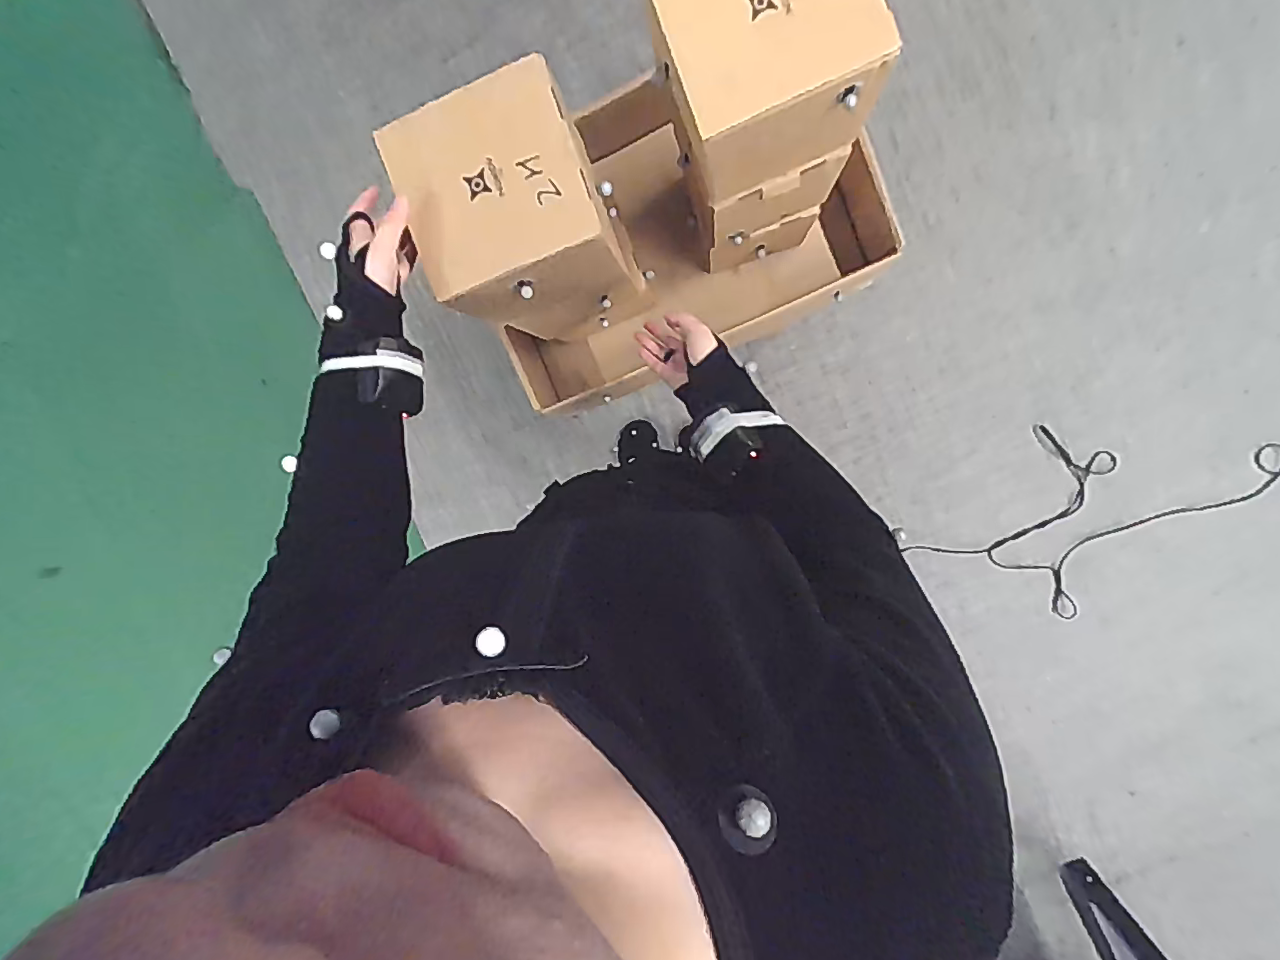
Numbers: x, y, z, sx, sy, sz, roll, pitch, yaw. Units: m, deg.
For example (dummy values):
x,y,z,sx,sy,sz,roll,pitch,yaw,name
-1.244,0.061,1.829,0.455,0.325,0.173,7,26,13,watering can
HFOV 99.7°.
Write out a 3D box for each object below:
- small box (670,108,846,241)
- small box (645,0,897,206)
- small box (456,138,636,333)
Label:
x,y,z,sx,sy,sz,roll,pitch,yaw,name
0.142,-0.429,0.692,0.168,0.176,0.179,-19,95,10,small box
0.117,-0.405,0.533,0.179,0.176,0.168,-20,95,9,small box
-0.114,-0.313,0.741,0.168,0.176,0.179,-21,95,8,small box
